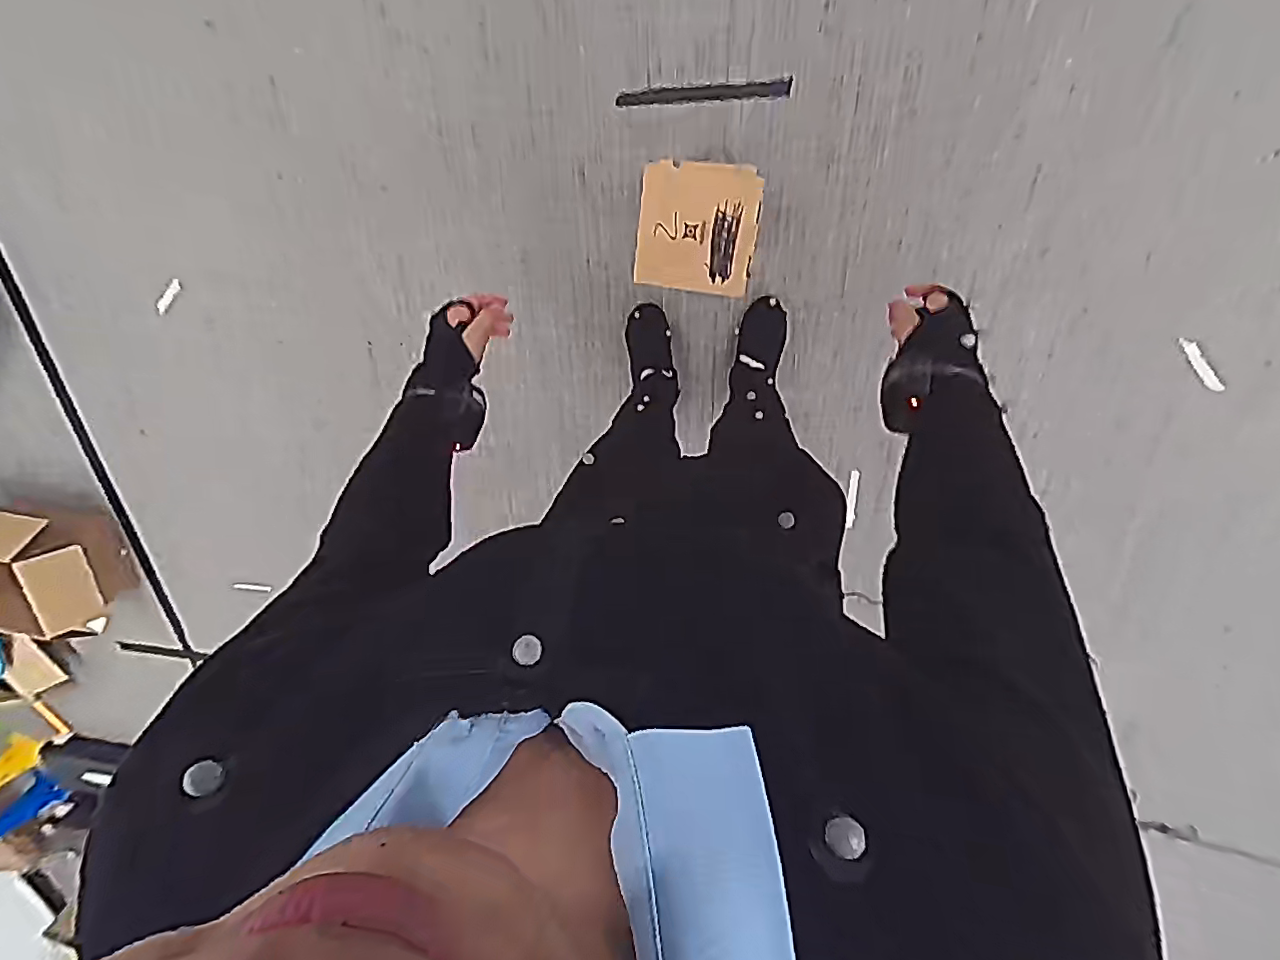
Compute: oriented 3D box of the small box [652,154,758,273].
[{"bbox_3d":[0.119,-0.491,1.003,0.168,0.176,0.179,8,118,6],"label":"small box"}]
